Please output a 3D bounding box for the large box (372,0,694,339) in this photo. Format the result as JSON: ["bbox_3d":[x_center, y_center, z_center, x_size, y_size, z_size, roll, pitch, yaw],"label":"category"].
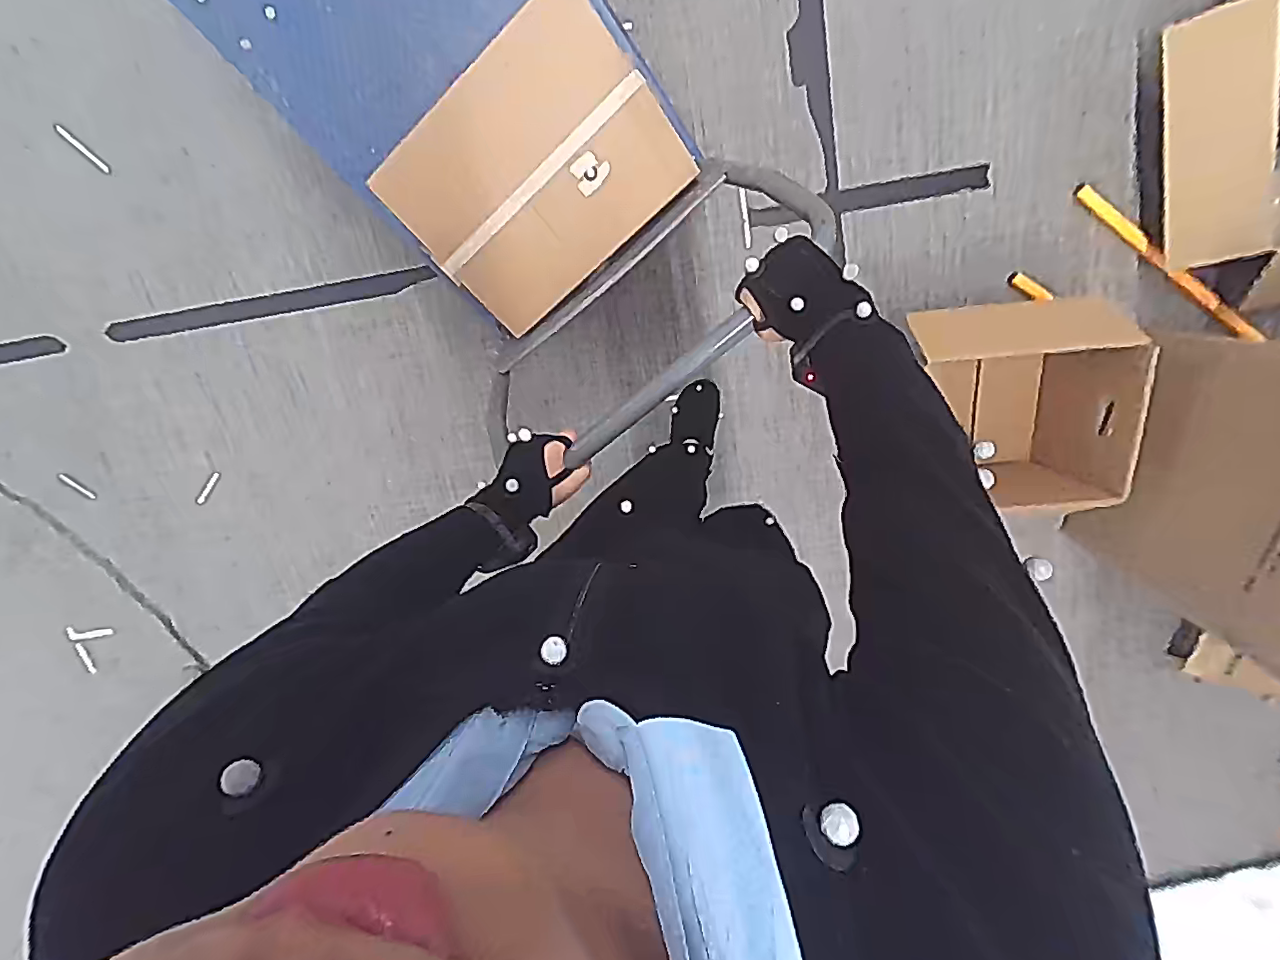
[{"bbox_3d":[-0.178,-0.528,0.952,0.408,0.320,0.320,-39,119,13],"label":"large box"}]
